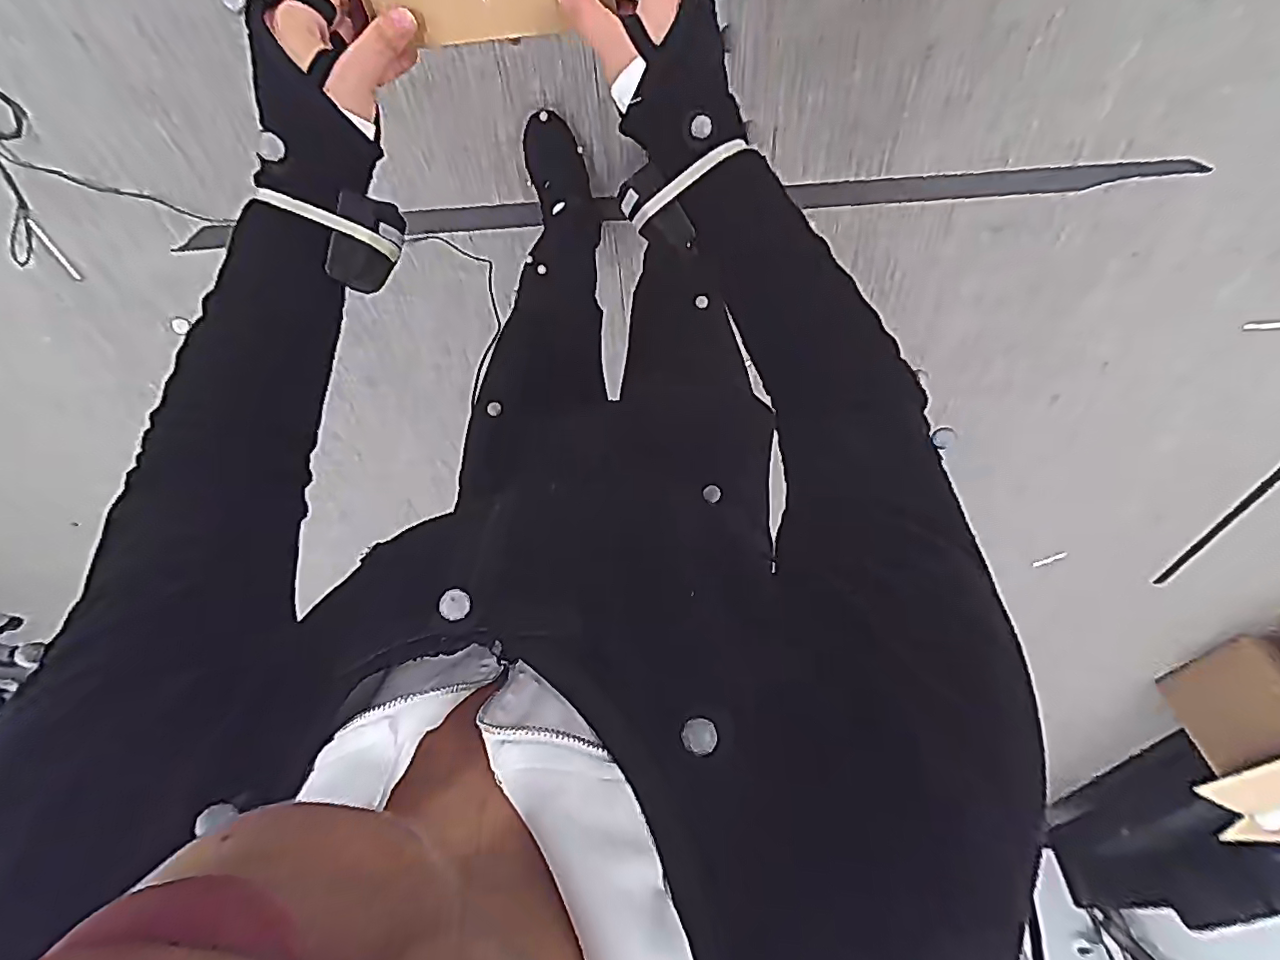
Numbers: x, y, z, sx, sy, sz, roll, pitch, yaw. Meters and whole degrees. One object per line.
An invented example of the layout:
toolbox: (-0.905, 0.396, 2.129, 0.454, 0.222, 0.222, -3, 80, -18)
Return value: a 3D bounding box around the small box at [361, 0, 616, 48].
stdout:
small box: (-0.108, -0.417, 0.360, 0.168, 0.176, 0.179, -5, 137, 2)
